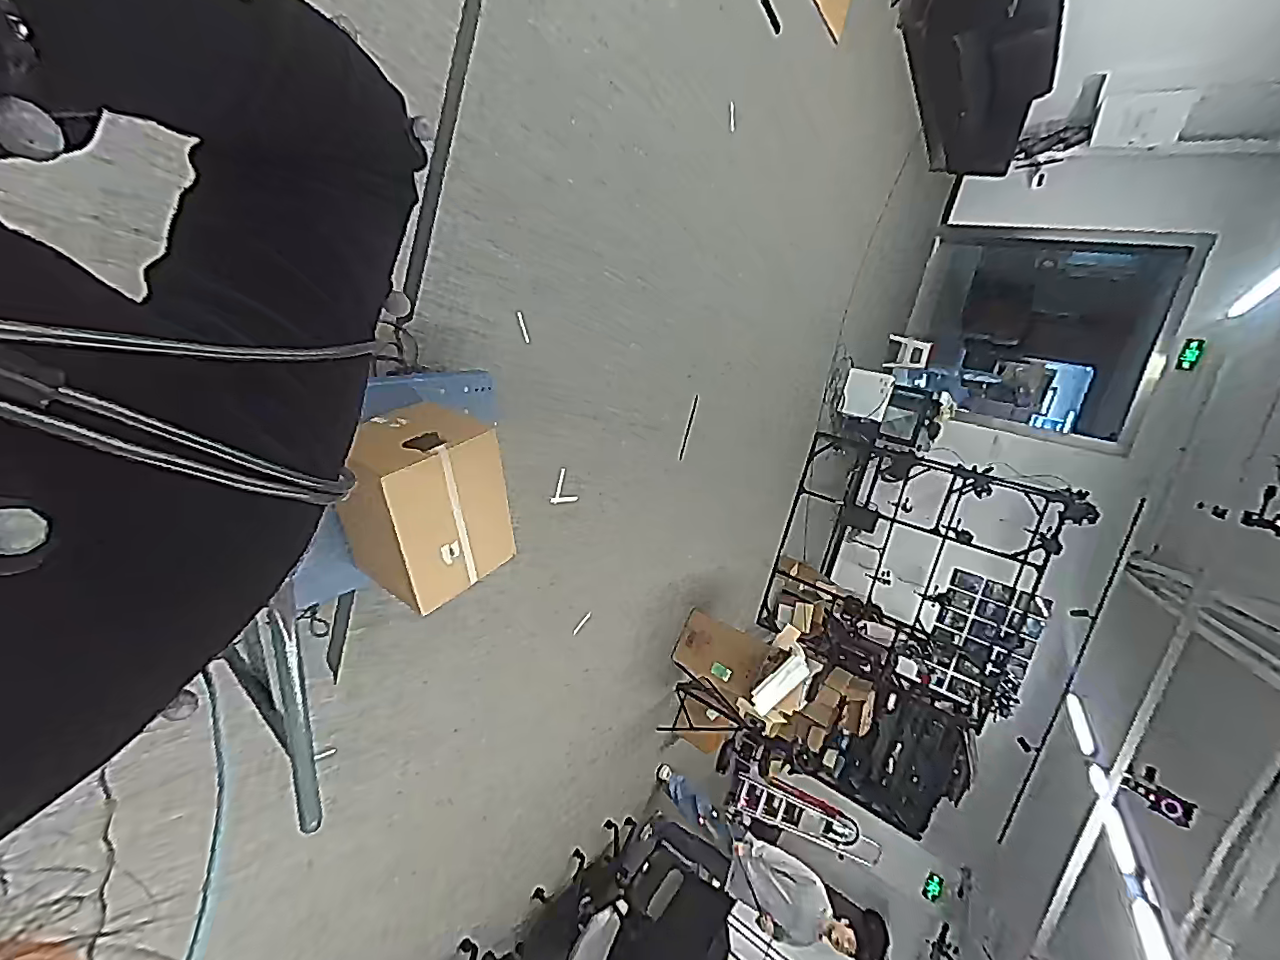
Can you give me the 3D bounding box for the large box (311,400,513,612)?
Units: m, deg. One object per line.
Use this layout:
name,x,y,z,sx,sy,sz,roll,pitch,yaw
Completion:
large box,-0.575,0.053,1.411,0.320,0.320,0.408,-34,134,-43
